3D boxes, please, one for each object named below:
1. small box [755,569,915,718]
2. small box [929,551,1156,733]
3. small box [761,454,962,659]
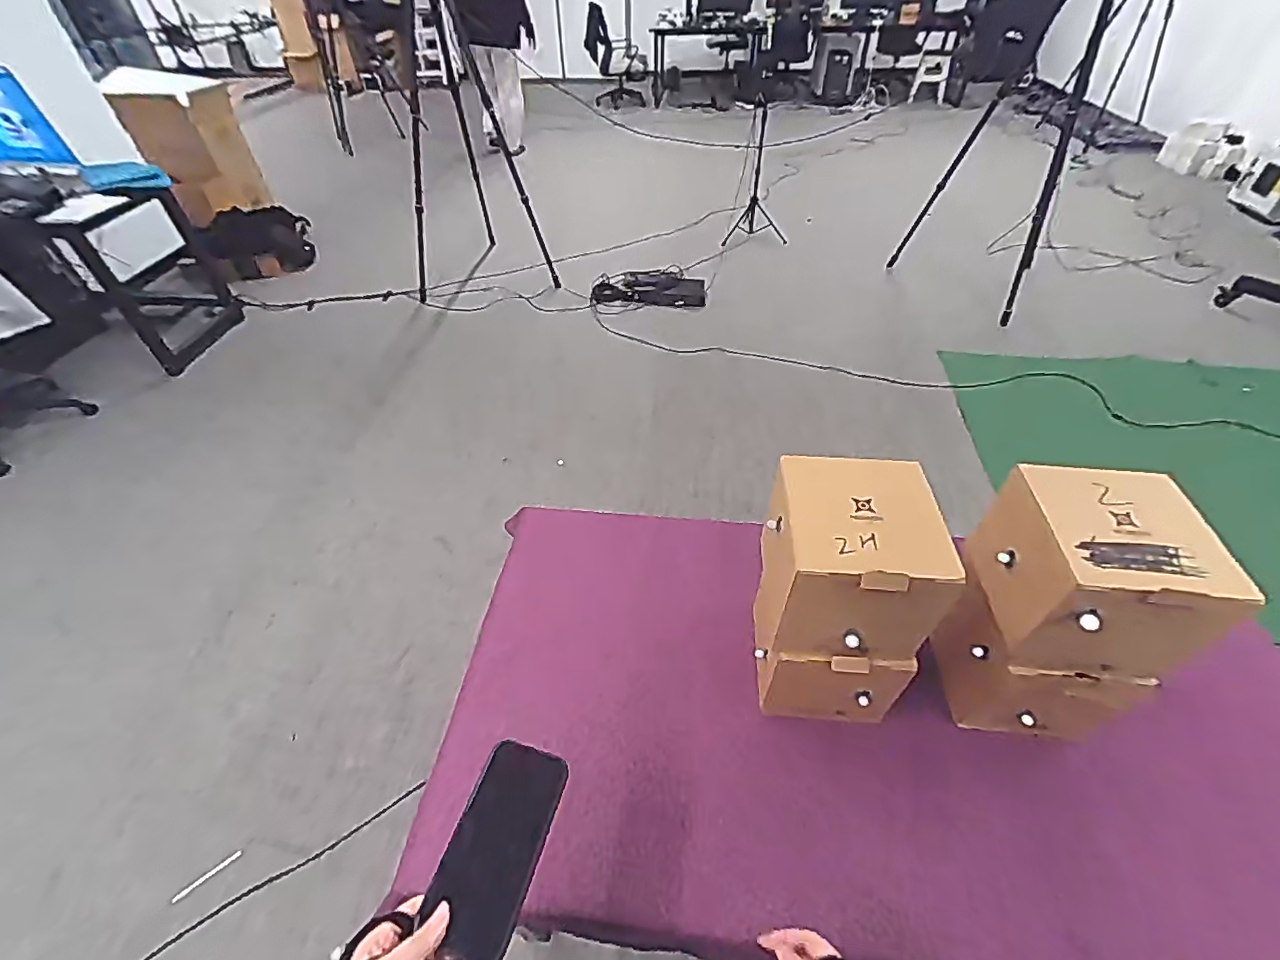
[{"bbox_3d":[0.257,0.214,0.759,0.168,0.176,0.179,3,45,5],"label":"small box"},{"bbox_3d":[0.522,0.221,0.741,0.168,0.176,0.179,3,46,5],"label":"small box"},{"bbox_3d":[0.243,0.090,0.650,0.168,0.176,0.179,2,46,4],"label":"small box"}]
